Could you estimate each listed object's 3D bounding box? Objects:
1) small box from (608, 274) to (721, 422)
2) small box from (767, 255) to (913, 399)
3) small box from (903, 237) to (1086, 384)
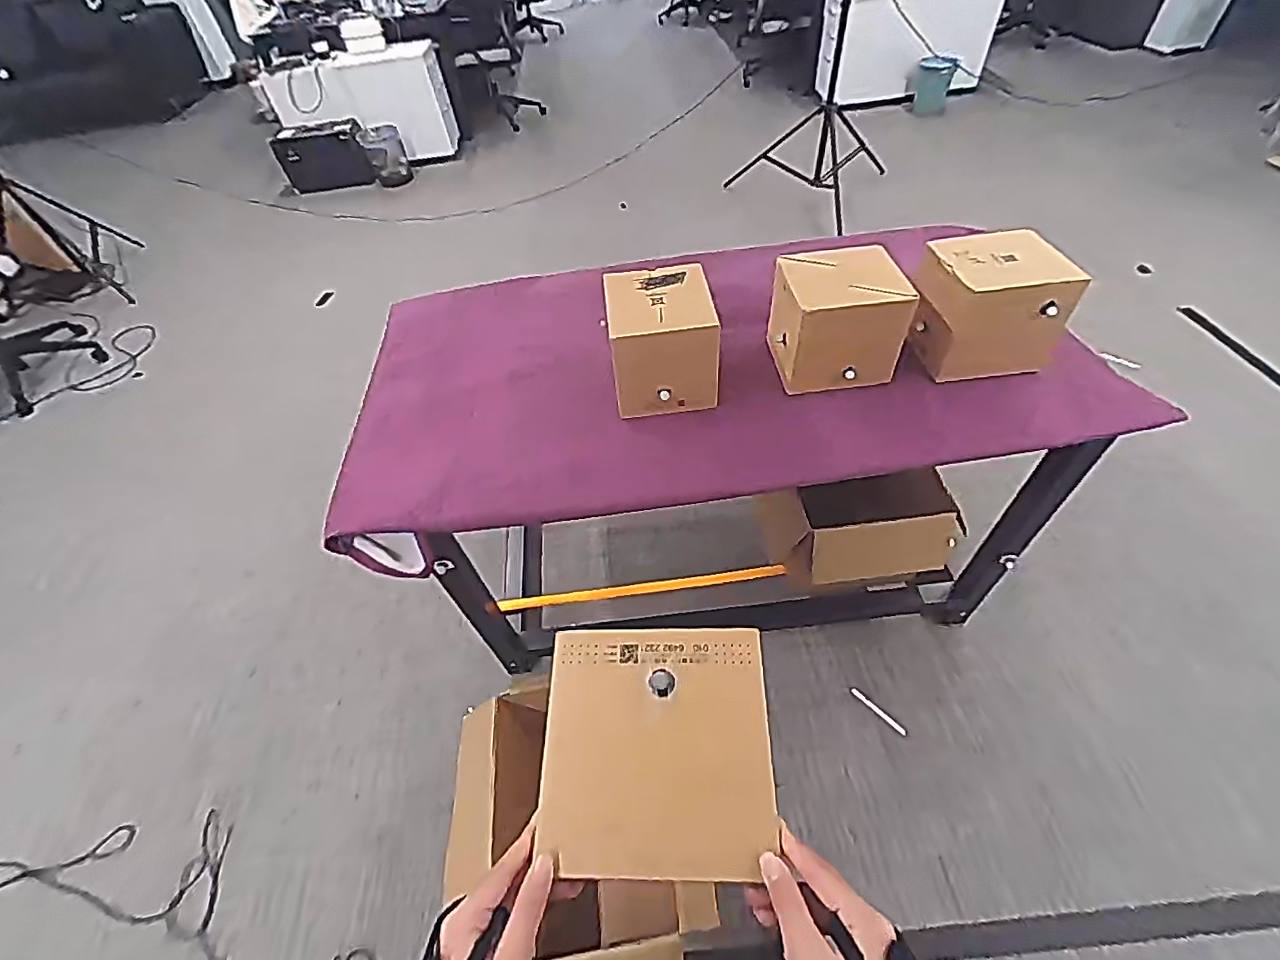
[{"bbox_3d":[0.038,-0.222,0.917,0.168,0.176,0.179,-7,50,0],"label":"small box"},{"bbox_3d":[0.324,-0.261,0.913,0.179,0.176,0.168,-7,48,2],"label":"small box"},{"bbox_3d":[0.569,-0.280,0.903,0.179,0.176,0.168,-6,47,1],"label":"small box"}]
